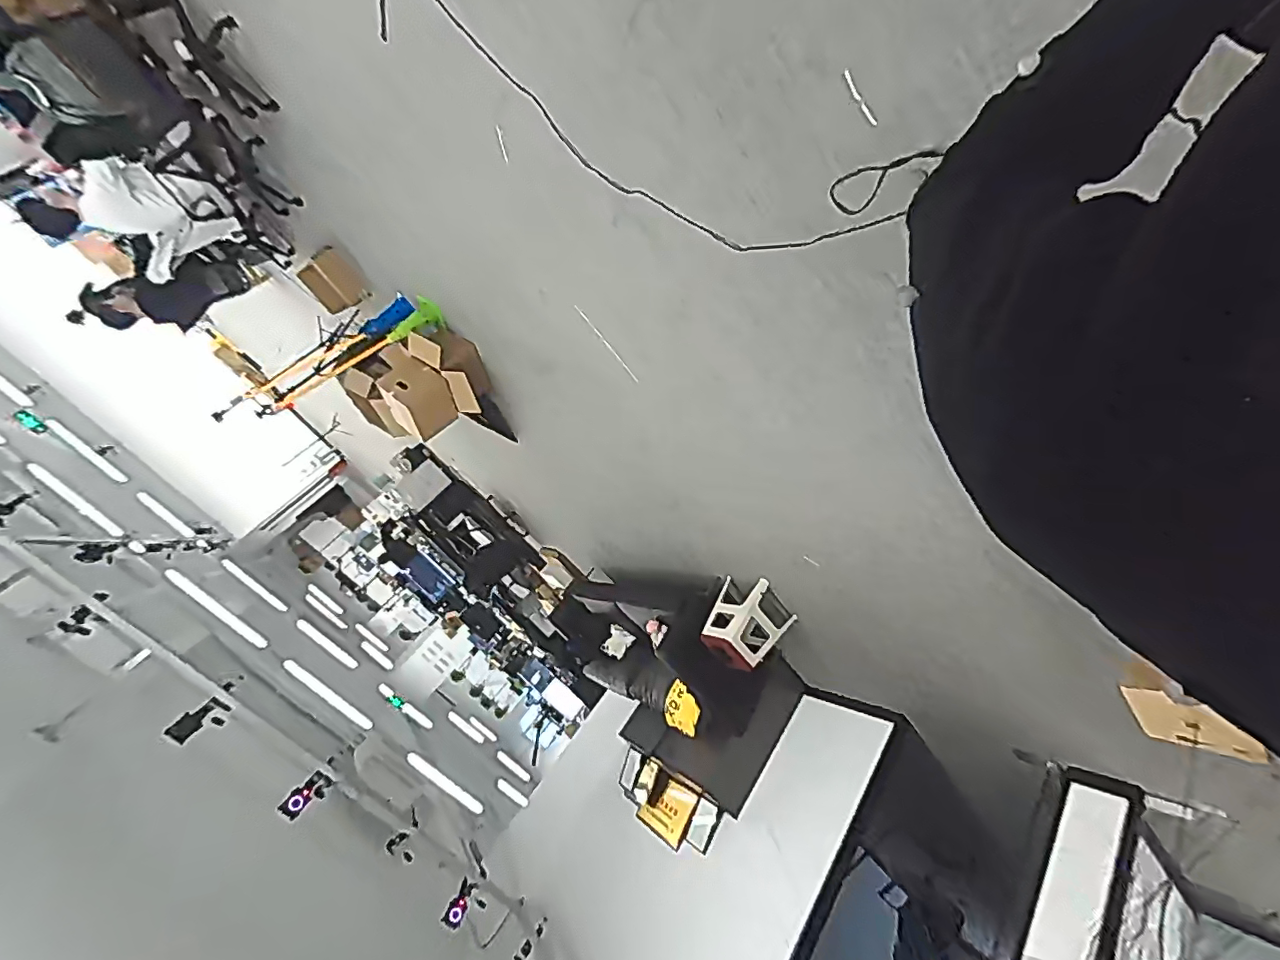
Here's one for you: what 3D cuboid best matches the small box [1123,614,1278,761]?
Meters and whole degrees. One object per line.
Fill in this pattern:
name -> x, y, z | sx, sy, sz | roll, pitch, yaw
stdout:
small box -> 1.037, 0.371, 1.000 | 0.179, 0.176, 0.168 | 50, 153, -19
